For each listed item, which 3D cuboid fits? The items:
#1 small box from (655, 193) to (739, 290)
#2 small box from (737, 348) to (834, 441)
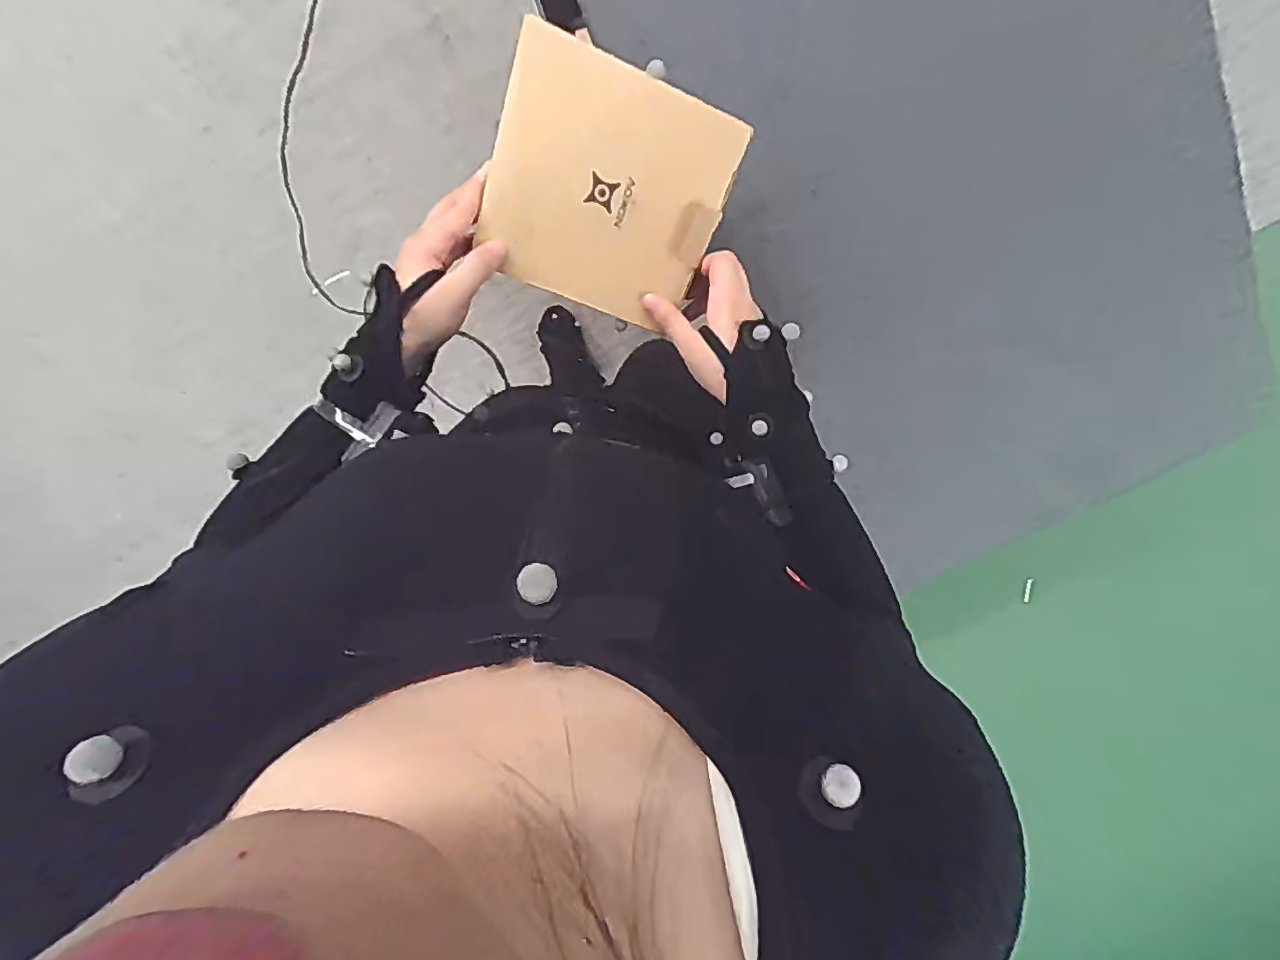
[{"bbox_3d":[0.129,-0.545,1.260,0.168,0.176,0.179,-9,104,1],"label":"small box"},{"bbox_3d":[0.355,-0.220,1.354,0.168,0.176,0.179,-22,106,6],"label":"small box"}]
